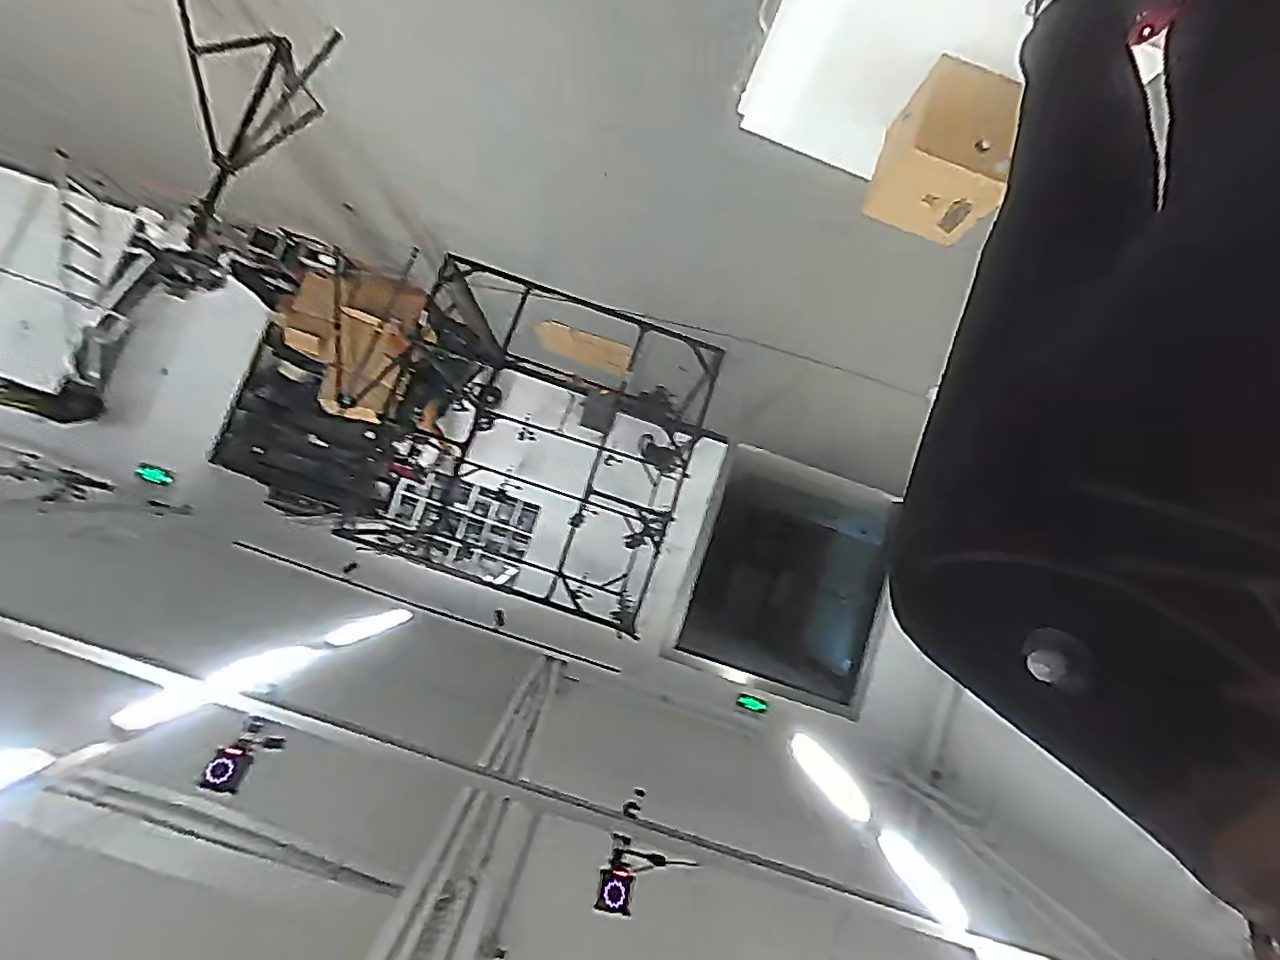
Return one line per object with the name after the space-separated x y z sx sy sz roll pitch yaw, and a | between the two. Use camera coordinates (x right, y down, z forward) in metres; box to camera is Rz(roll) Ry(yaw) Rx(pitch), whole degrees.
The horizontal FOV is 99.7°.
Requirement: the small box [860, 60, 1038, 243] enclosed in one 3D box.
0.500 -0.531 0.885 0.179 0.176 0.168 20 173 -2 | small box
